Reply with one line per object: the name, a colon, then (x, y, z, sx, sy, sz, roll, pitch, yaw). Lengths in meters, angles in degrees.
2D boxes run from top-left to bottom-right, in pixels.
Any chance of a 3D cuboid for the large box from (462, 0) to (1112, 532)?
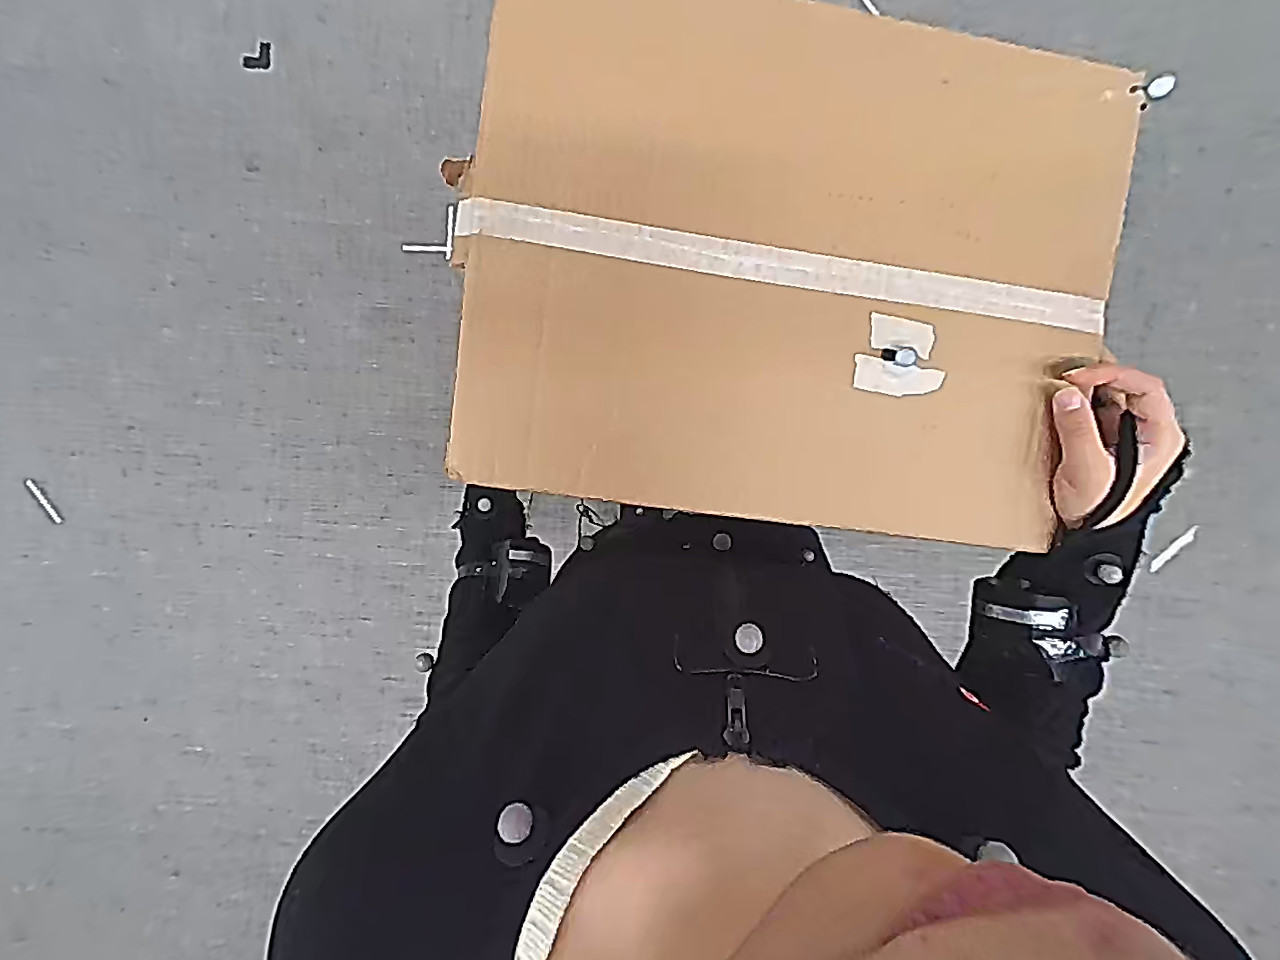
large box: (0.084, -0.146, 0.491, 0.408, 0.320, 0.320, 7, 95, -7)
